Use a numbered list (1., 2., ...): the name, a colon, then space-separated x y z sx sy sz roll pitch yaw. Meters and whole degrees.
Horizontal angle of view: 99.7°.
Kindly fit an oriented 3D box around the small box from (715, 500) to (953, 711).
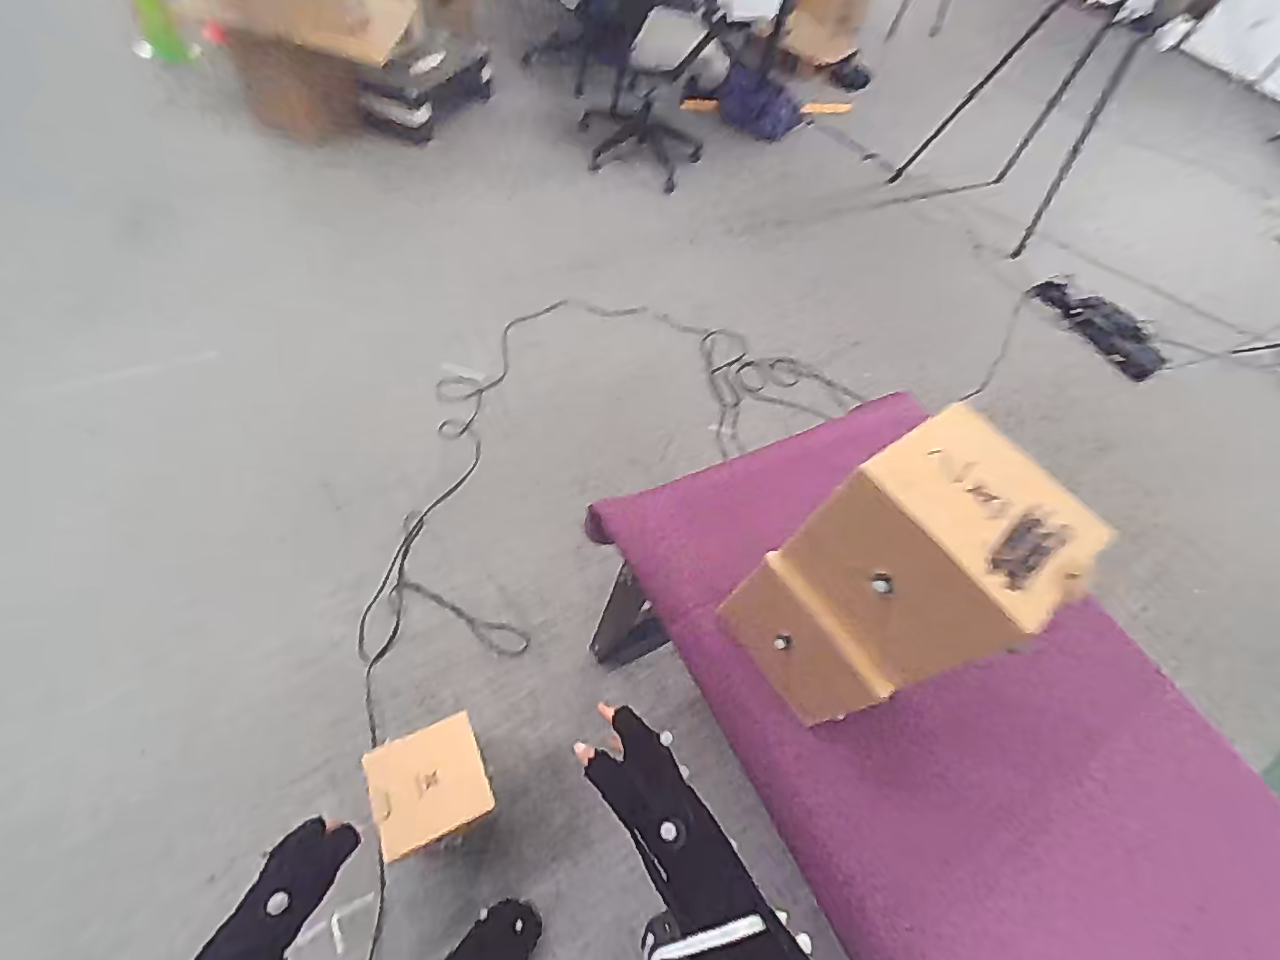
1. small box: 0.223 0.161 0.663 0.168 0.176 0.179 -26 68 -28
